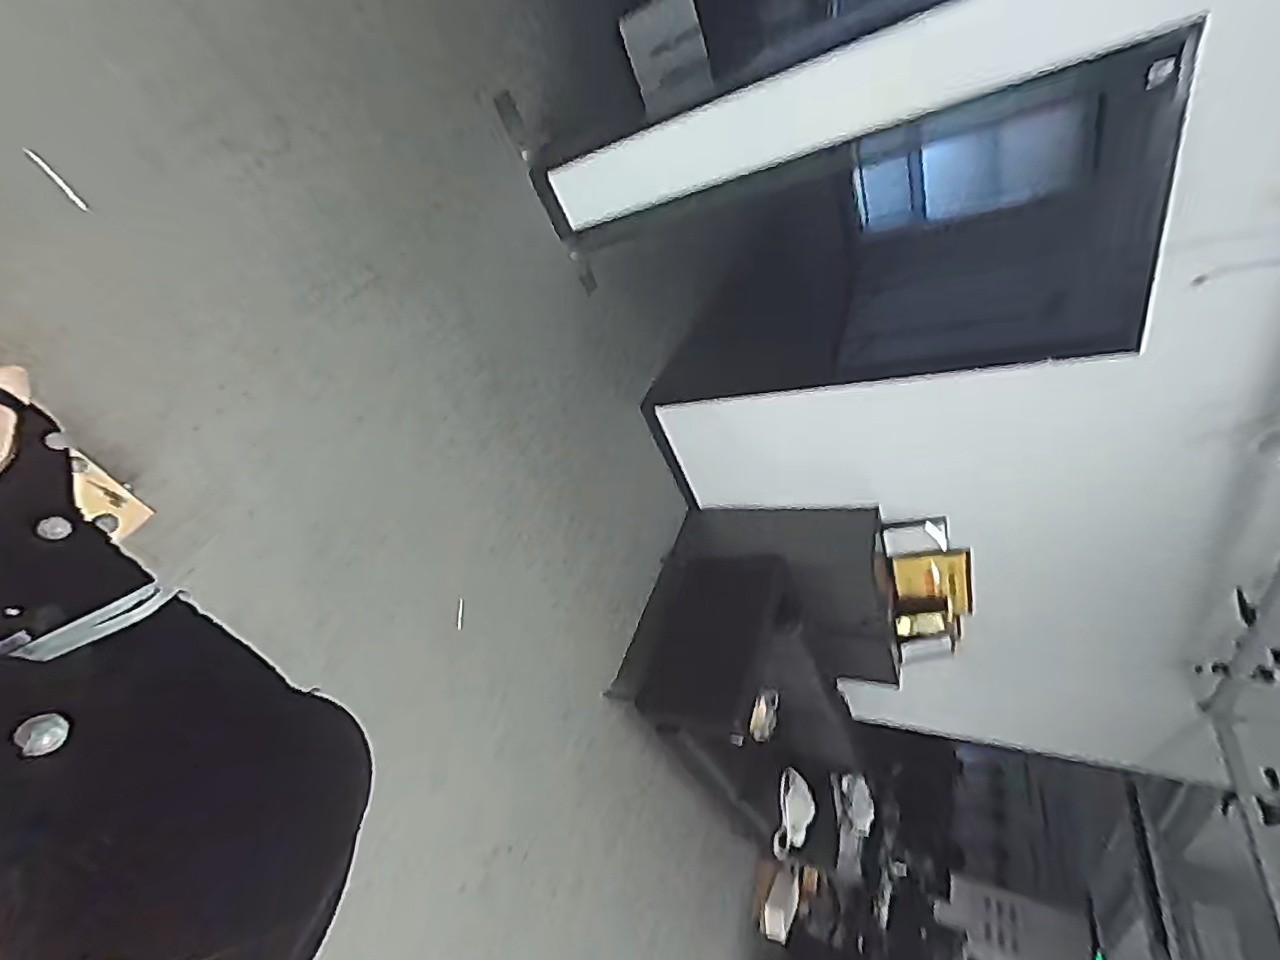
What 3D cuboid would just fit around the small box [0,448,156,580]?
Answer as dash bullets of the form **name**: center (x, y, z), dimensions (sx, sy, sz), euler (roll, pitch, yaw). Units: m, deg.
- **small box**: center (-1.061, 0.060, 0.986), dimensions (0.179, 0.176, 0.168), euler (-60, 137, -40)
